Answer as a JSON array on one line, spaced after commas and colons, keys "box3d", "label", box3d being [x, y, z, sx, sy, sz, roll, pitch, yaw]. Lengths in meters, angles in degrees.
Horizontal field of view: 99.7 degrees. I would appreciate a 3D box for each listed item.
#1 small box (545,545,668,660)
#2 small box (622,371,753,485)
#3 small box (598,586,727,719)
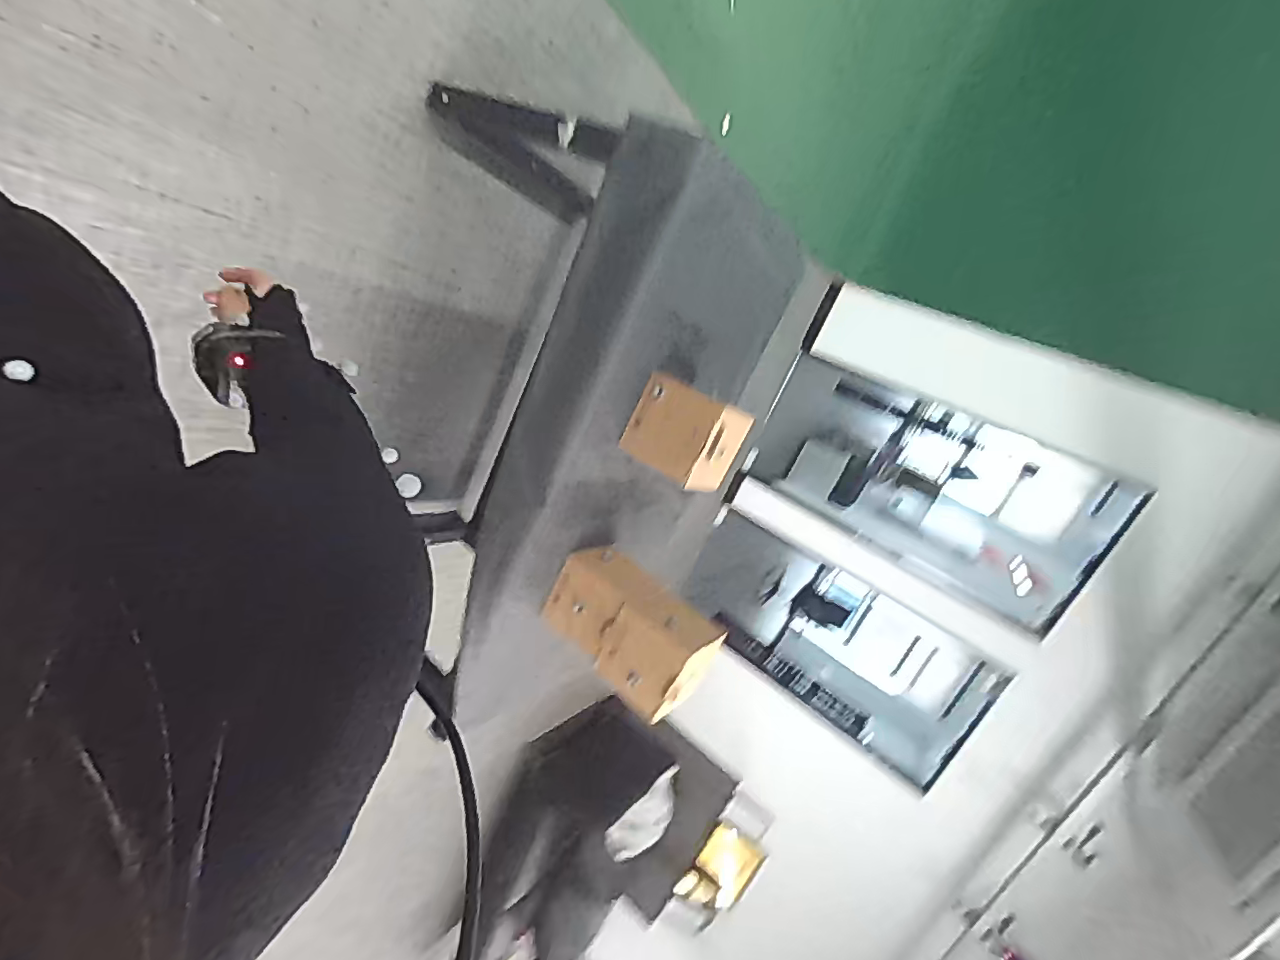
[{"box3d": [-0.075, 0.255, 1.175, 0.179, 0.176, 0.168, 2, 117, -59], "label": "small box"}, {"box3d": [0.092, -0.102, 1.078, 0.179, 0.176, 0.168, 4, 116, -61], "label": "small box"}, {"box3d": [0.043, 0.338, 1.099, 0.179, 0.176, 0.168, -1, 120, -60], "label": "small box"}]
